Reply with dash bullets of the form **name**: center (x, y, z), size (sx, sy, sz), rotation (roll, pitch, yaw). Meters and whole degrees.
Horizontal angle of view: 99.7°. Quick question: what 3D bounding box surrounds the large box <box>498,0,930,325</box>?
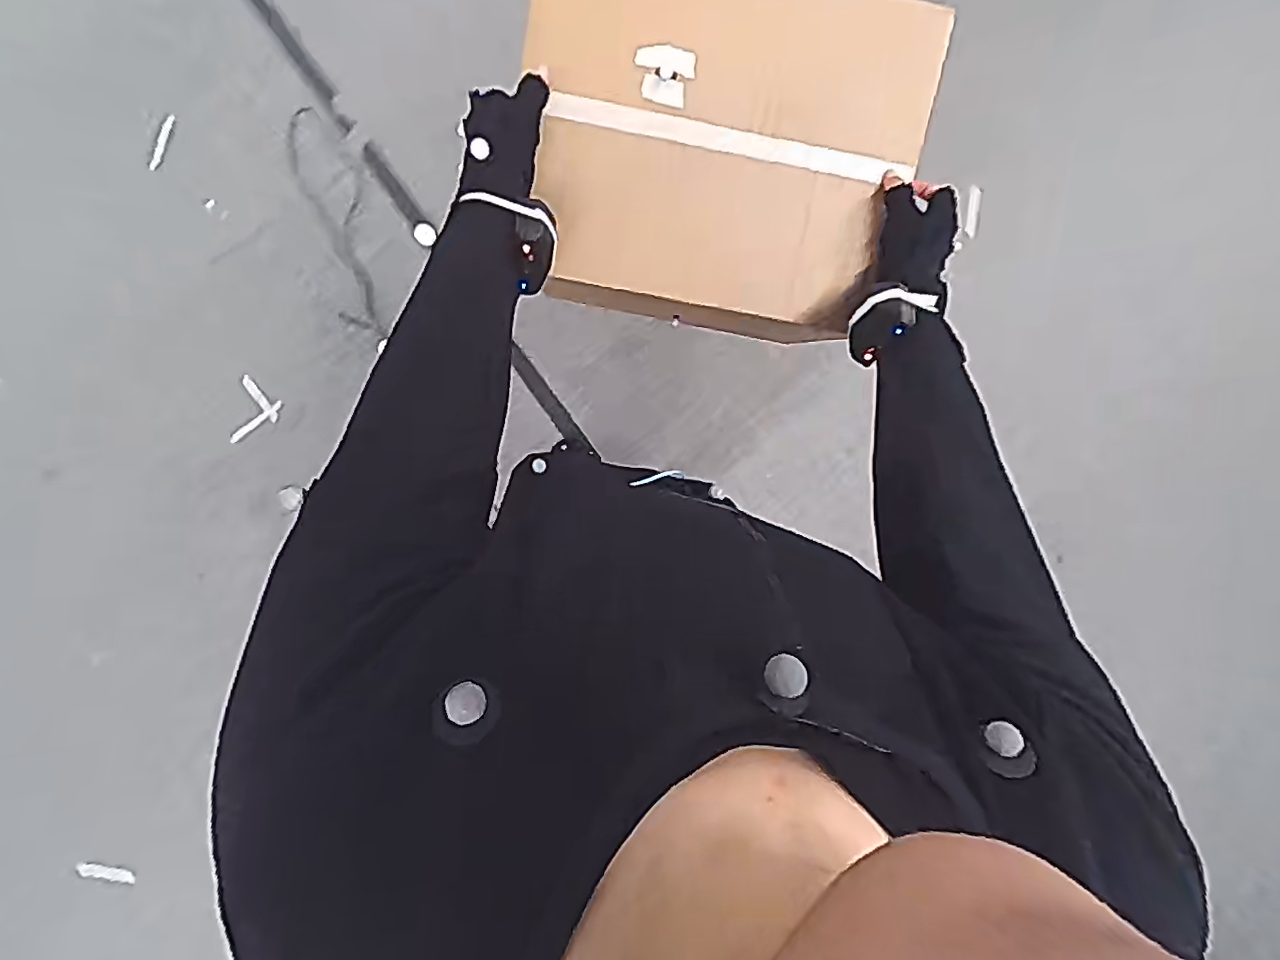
- **large box**: center (0.065, -0.385, 0.694), size (0.408, 0.320, 0.320), rotation (9, 102, -3)
